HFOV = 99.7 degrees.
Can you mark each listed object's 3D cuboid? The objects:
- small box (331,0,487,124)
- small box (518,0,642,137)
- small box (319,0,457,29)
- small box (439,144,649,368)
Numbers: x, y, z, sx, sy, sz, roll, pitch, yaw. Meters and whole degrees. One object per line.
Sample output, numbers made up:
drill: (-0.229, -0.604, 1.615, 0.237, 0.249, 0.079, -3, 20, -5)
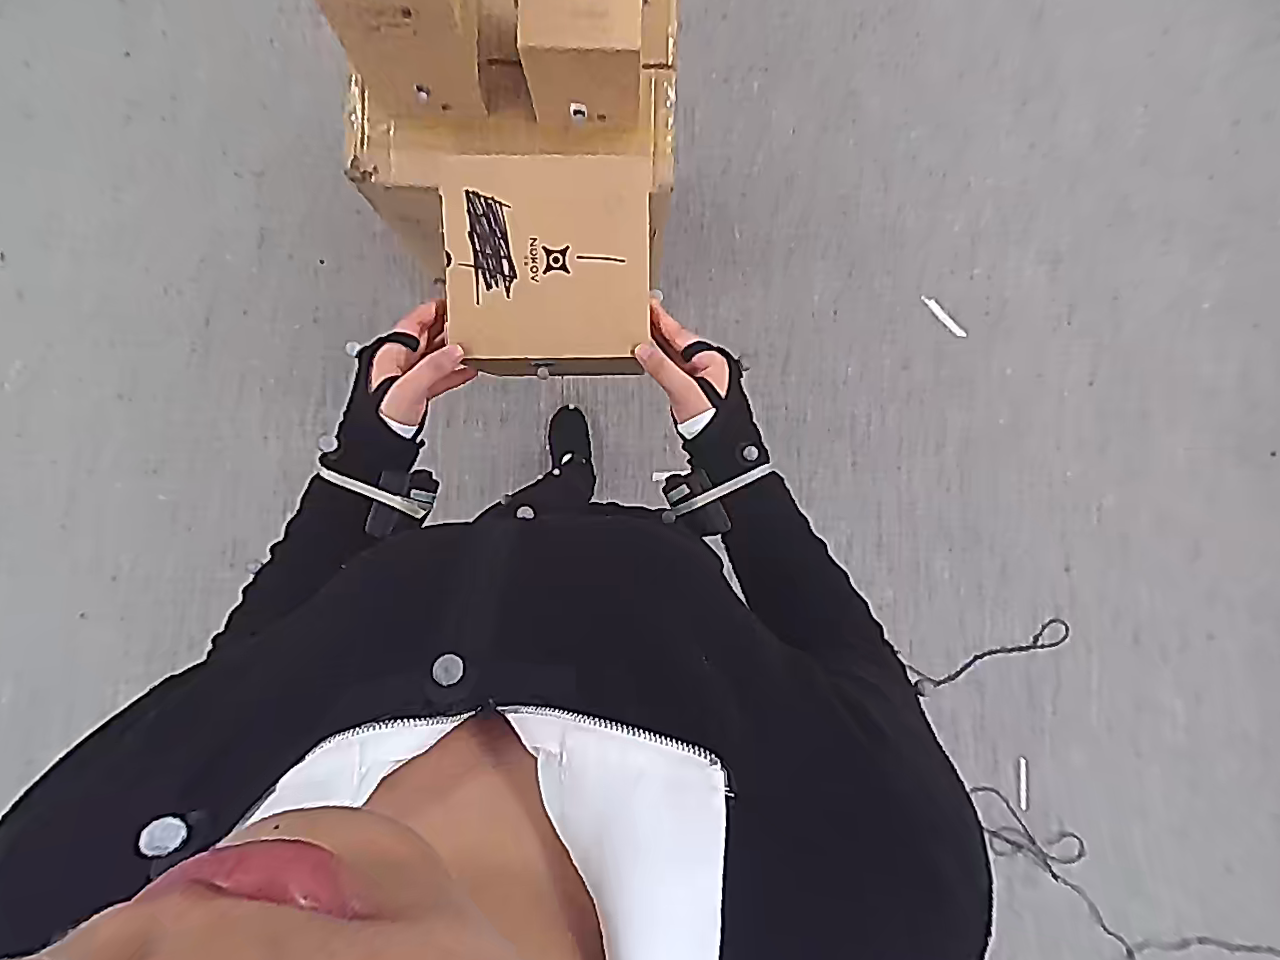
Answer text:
small box: (-0.324, -0.662, 0.786, 0.168, 0.176, 0.179, -1, 89, -3)
small box: (-0.081, -0.647, 0.798, 0.168, 0.176, 0.179, 0, 90, 0)
small box: (-0.316, -0.668, 0.622, 0.168, 0.176, 0.179, -3, 90, -4)
small box: (-0.082, -0.202, 0.534, 0.179, 0.176, 0.168, -1, 96, -2)
